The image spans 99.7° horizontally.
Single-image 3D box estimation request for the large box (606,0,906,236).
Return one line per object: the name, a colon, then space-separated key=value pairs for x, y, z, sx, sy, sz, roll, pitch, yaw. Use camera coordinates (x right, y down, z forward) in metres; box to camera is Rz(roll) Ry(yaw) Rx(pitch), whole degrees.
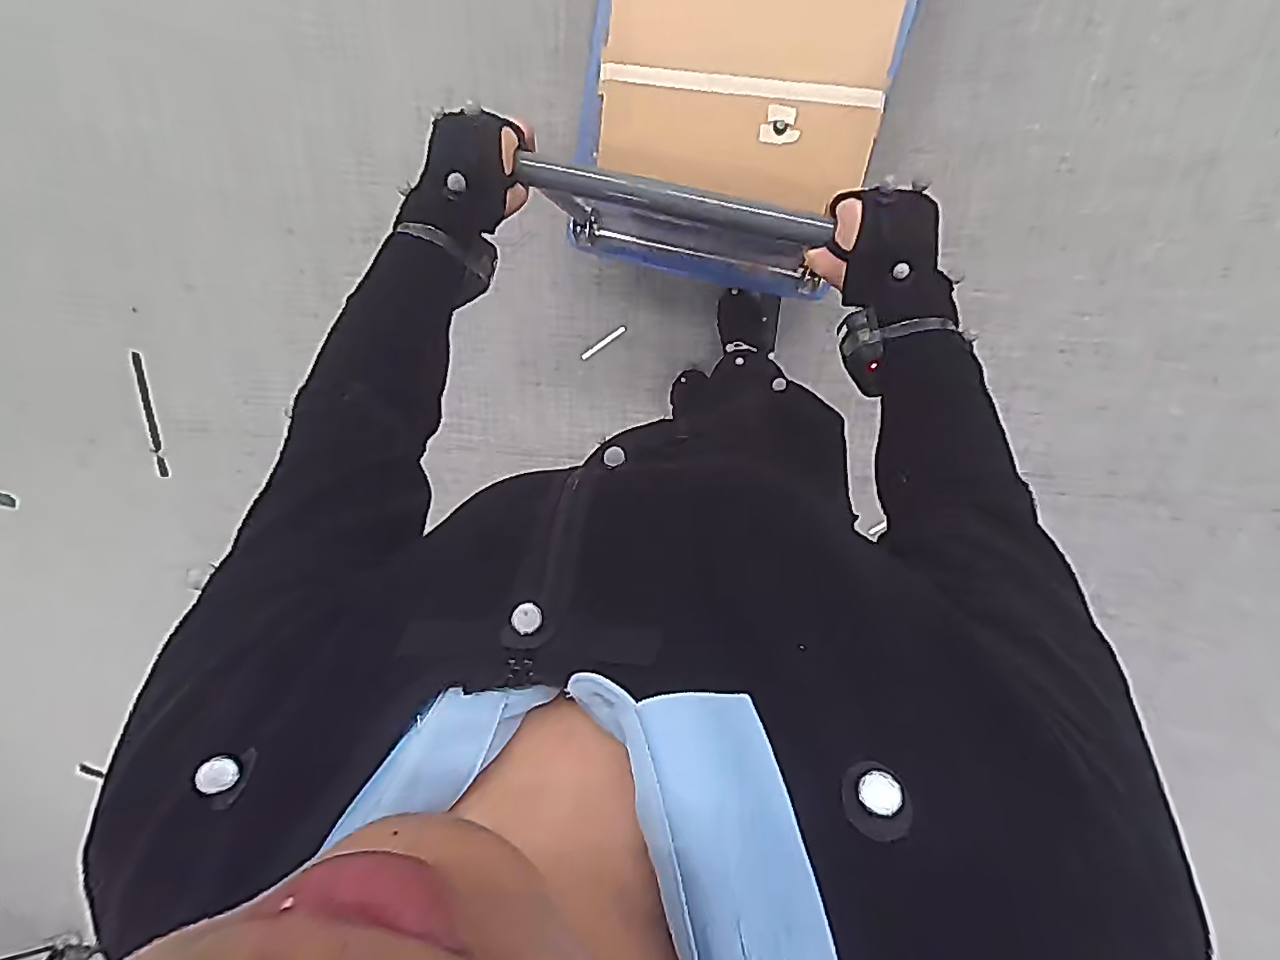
large box: x=0.171 y=-0.623 z=0.936 sx=0.408 sy=0.320 sz=0.320 roll=9 pitch=111 yaw=3
